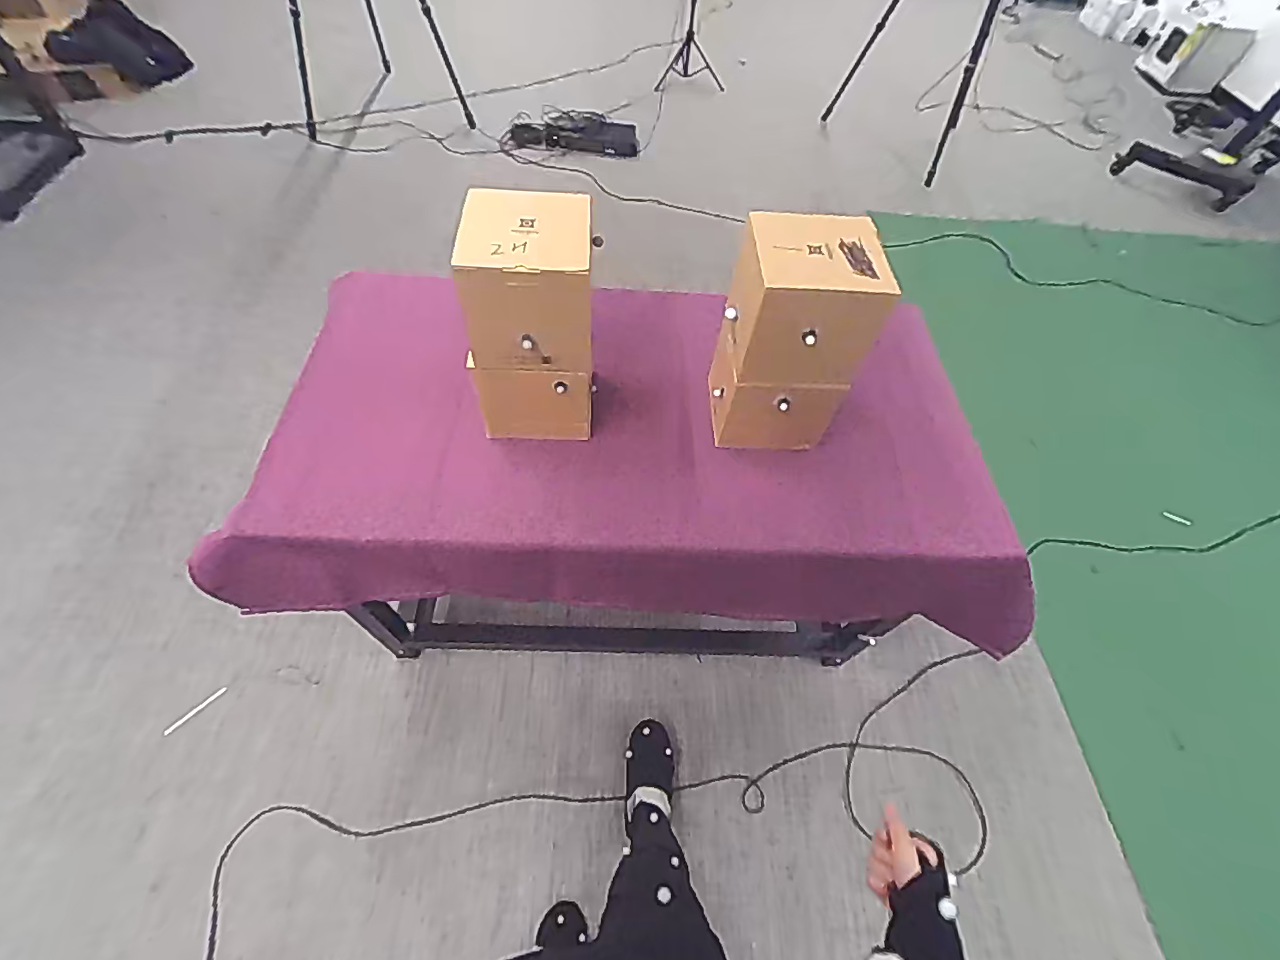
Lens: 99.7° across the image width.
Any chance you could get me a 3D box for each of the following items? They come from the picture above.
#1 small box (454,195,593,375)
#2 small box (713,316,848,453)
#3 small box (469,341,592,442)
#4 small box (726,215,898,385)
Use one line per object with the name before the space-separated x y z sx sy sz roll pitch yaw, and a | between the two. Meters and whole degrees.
small box | -0.151 -0.271 0.762 0.168 0.176 0.179 0 56 -5
small box | 0.222 -0.160 0.915 0.179 0.176 0.168 2 57 -4
small box | -0.169 -0.176 0.896 0.179 0.176 0.168 1 56 -5
small box | 0.232 -0.252 0.779 0.179 0.176 0.168 1 57 -3
